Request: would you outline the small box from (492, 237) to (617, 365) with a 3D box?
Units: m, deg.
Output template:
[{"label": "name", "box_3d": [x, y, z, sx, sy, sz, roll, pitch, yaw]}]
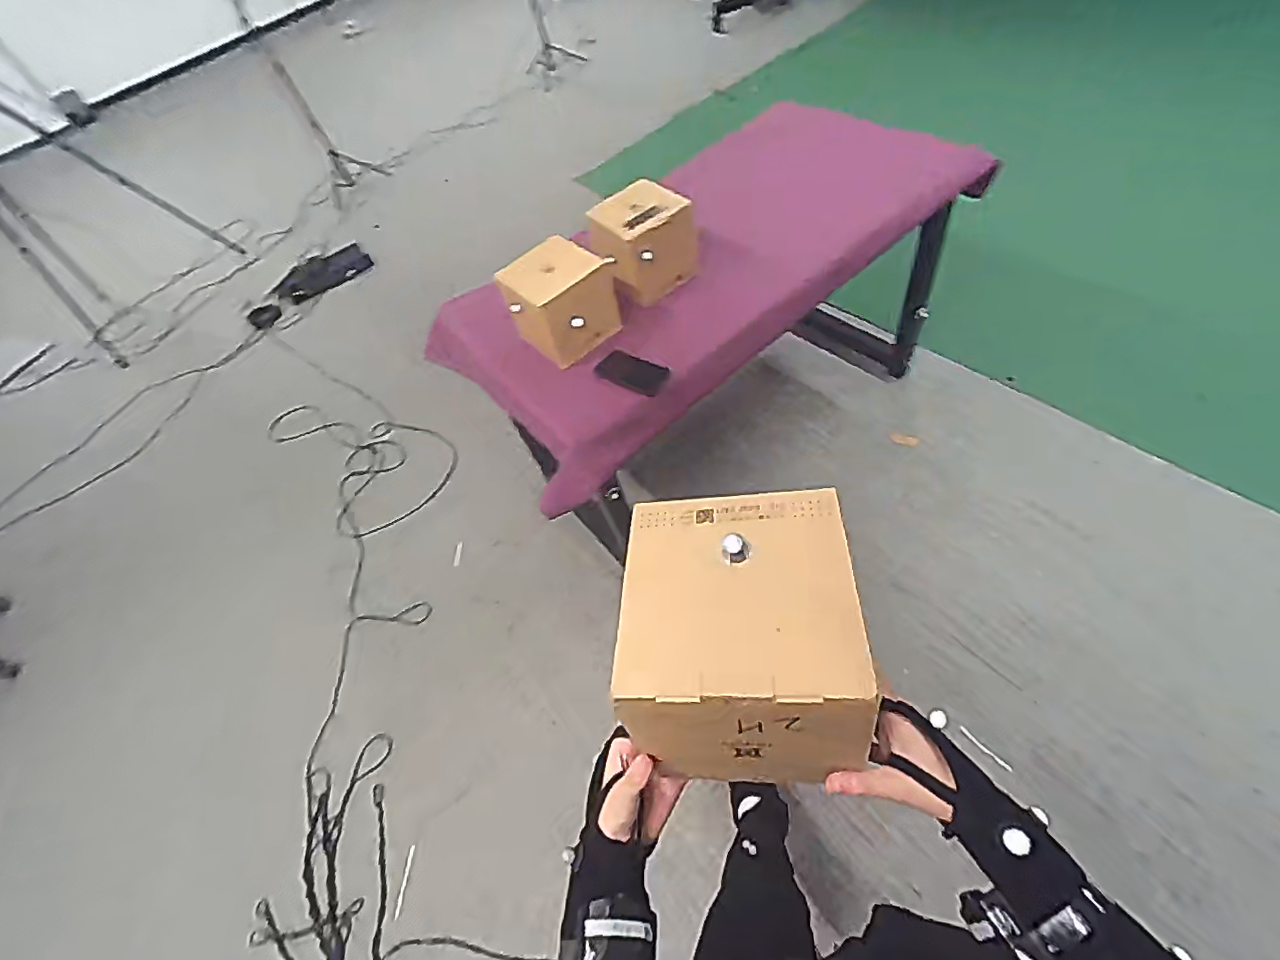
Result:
[{"label": "small box", "box_3d": [-0.171, -0.368, 1.134, 0.168, 0.176, 0.179, -41, 56, -15]}]

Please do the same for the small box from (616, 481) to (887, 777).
[{"label": "small box", "box_3d": [0.088, 0.122, 0.440, 0.168, 0.179, 0.176, -5, 45, 12]}]
